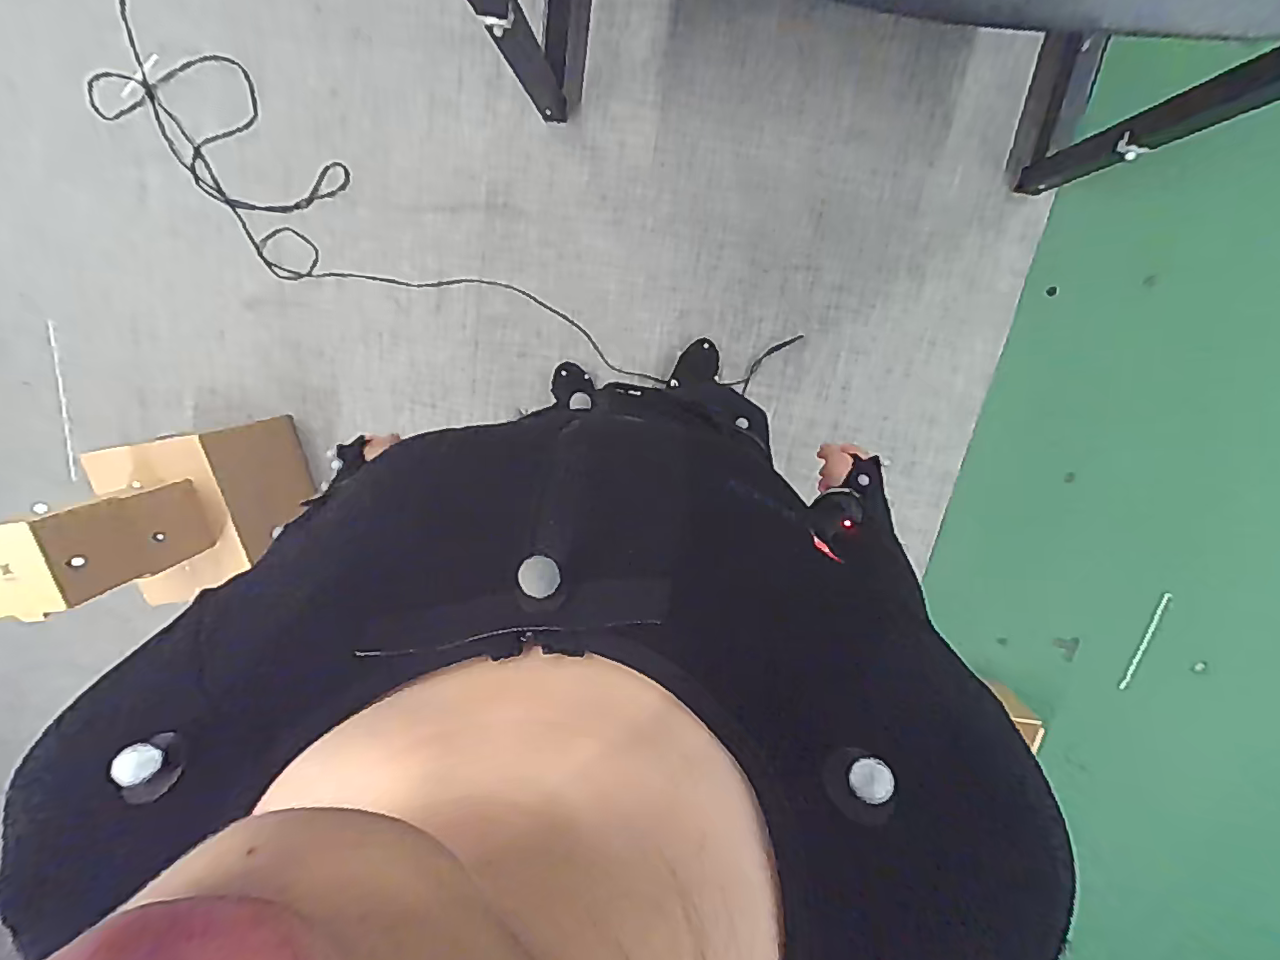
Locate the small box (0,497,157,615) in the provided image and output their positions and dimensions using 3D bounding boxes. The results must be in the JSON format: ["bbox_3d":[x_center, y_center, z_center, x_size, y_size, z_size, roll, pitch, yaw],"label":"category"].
[{"bbox_3d":[-1.115,0.139,1.055,0.168,0.176,0.179,-8,105,4],"label":"small box"}]

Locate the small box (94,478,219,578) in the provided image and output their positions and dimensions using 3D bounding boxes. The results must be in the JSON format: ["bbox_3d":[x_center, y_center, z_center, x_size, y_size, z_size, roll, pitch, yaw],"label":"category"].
[{"bbox_3d":[-1.105,0.108,1.215,0.168,0.176,0.179,-8,104,5],"label":"small box"}]
